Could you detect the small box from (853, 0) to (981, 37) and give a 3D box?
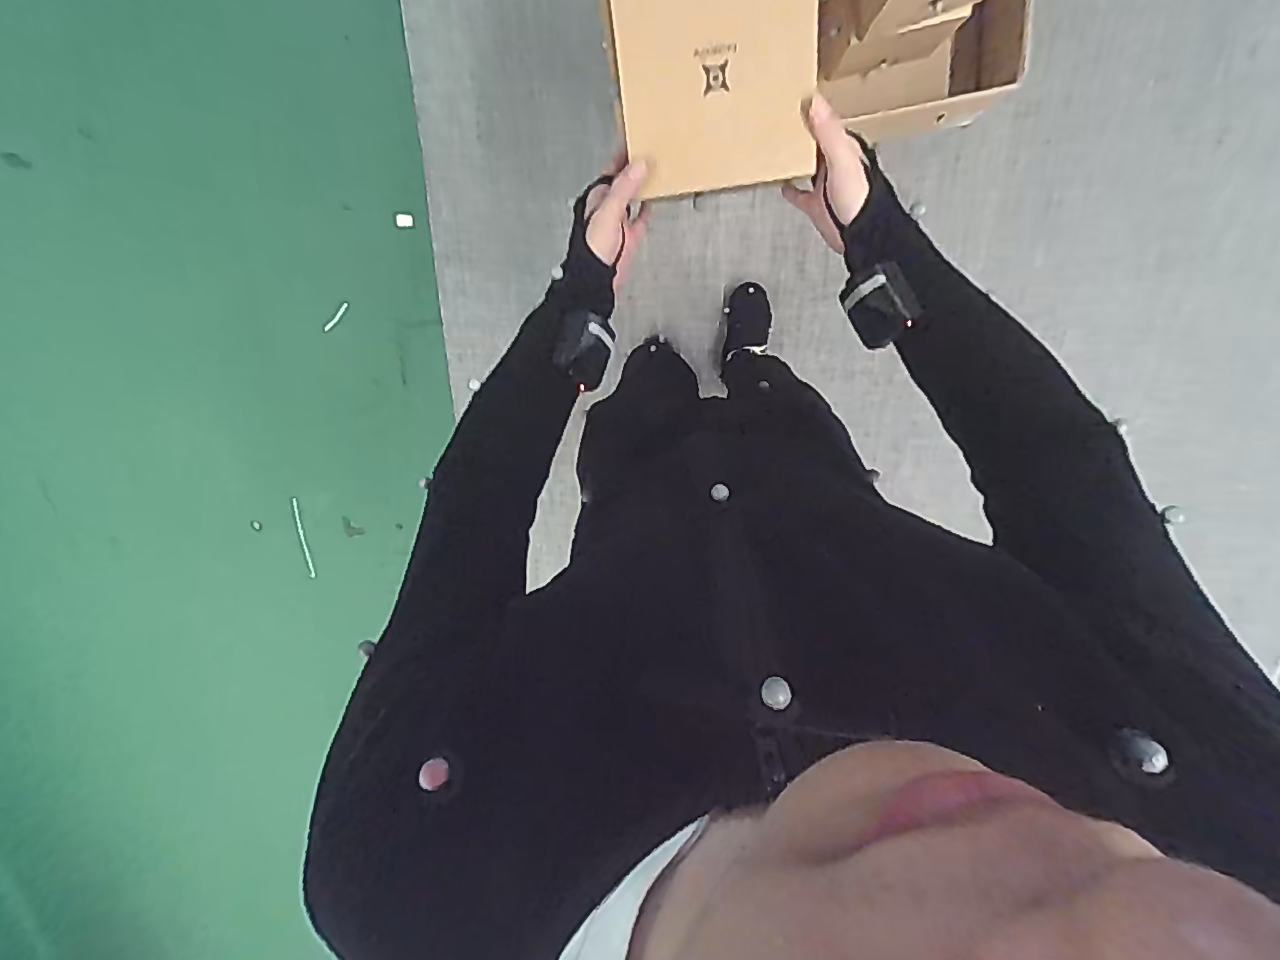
[{"bbox_3d":[0.361,-0.686,0.661,0.168,0.176,0.179,-12,109,11],"label":"small box"}]

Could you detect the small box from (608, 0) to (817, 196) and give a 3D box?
[{"bbox_3d":[0.071,-0.376,0.512,0.168,0.176,0.179,-4,115,9],"label":"small box"}]
